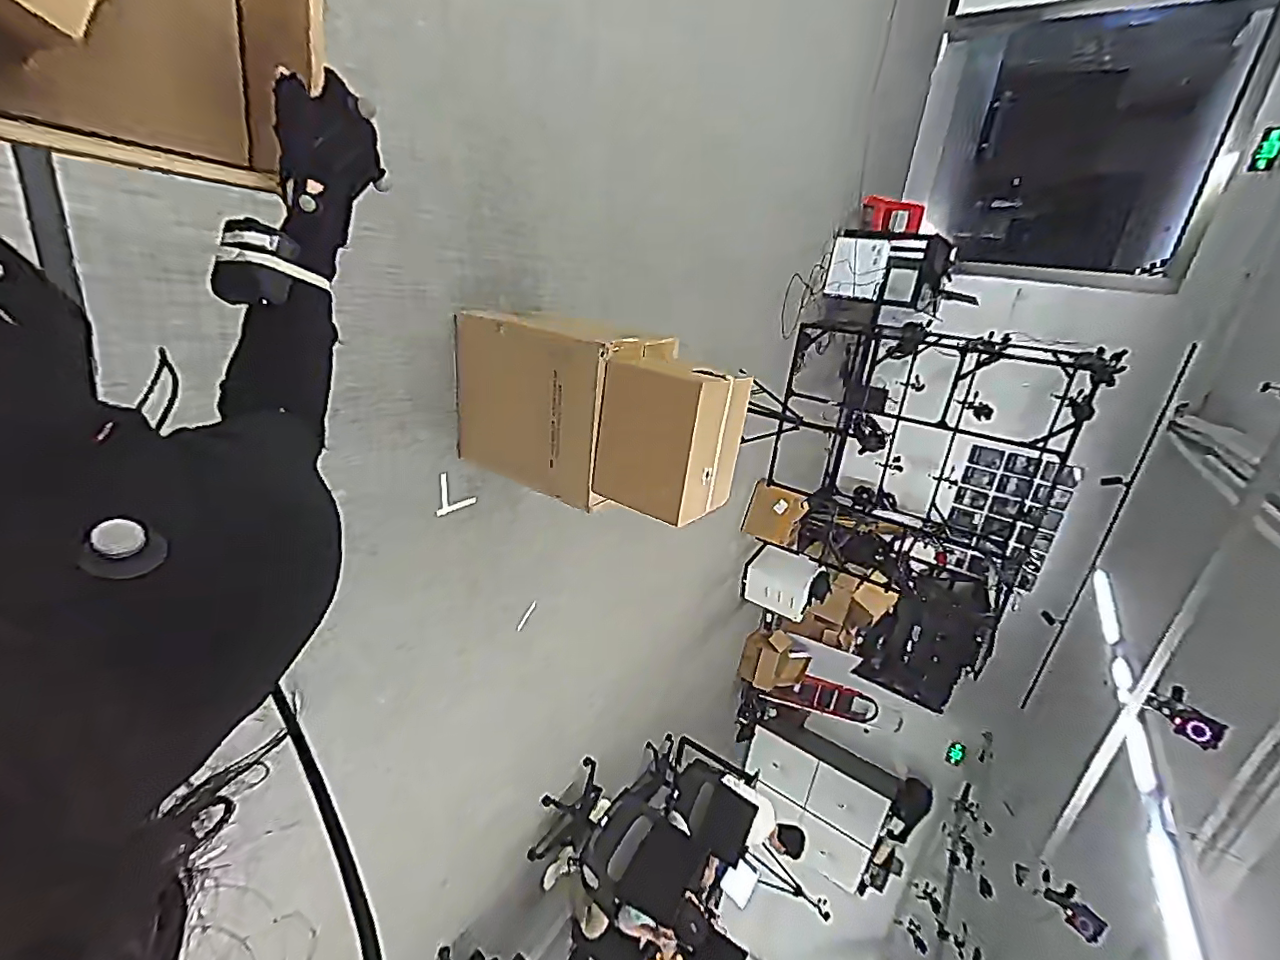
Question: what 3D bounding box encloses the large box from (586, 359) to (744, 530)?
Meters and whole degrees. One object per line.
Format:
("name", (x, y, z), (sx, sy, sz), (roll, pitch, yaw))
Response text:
("large box", (0.069, -0.123, 1.591), (0.320, 0.320, 0.408), (-19, 124, -53))
